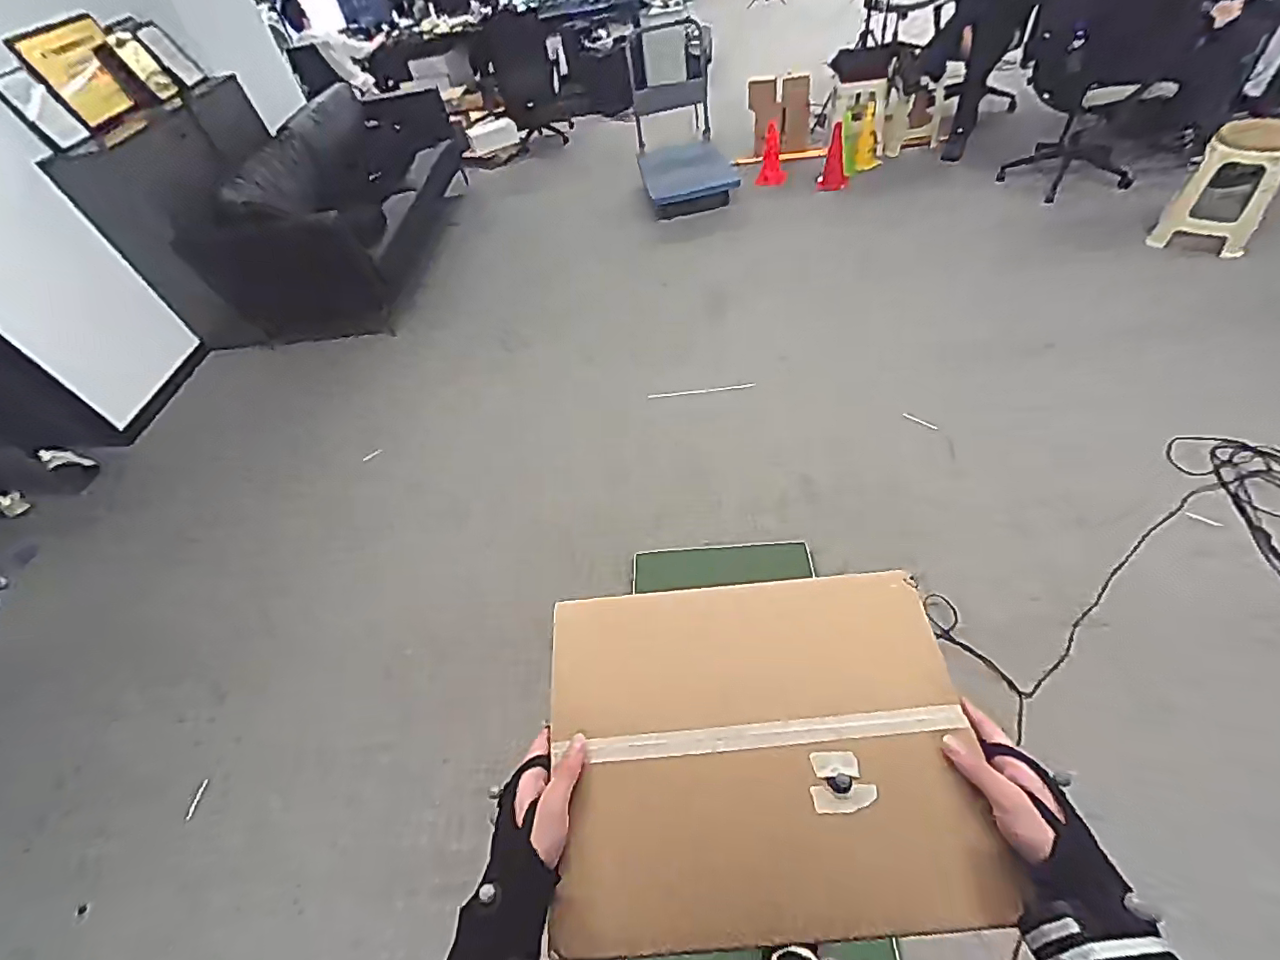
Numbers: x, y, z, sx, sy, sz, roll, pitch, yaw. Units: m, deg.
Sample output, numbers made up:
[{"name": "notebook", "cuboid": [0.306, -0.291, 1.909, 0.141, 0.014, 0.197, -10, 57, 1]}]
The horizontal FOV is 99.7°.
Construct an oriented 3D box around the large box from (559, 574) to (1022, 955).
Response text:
[{"name": "large box", "cuboid": [0.124, 0.339, 0.663, 0.408, 0.320, 0.320, -5, 56, 0]}]
